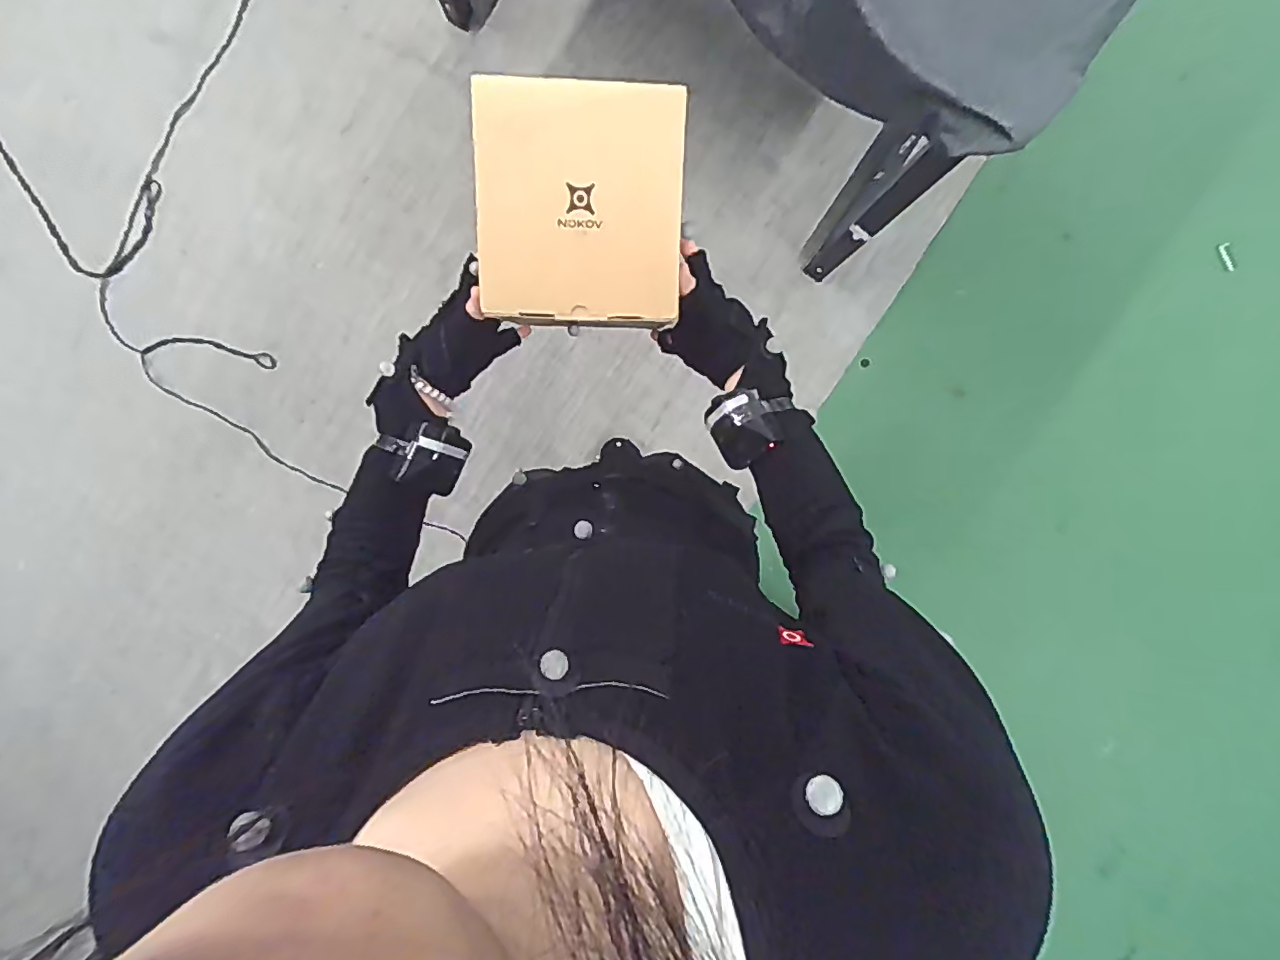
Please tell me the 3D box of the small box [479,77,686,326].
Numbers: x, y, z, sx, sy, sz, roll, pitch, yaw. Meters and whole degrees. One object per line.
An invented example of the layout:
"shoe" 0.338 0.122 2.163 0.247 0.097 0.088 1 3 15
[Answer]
"small box" -0.054 -0.244 0.519 0.168 0.176 0.179 1 105 -4
